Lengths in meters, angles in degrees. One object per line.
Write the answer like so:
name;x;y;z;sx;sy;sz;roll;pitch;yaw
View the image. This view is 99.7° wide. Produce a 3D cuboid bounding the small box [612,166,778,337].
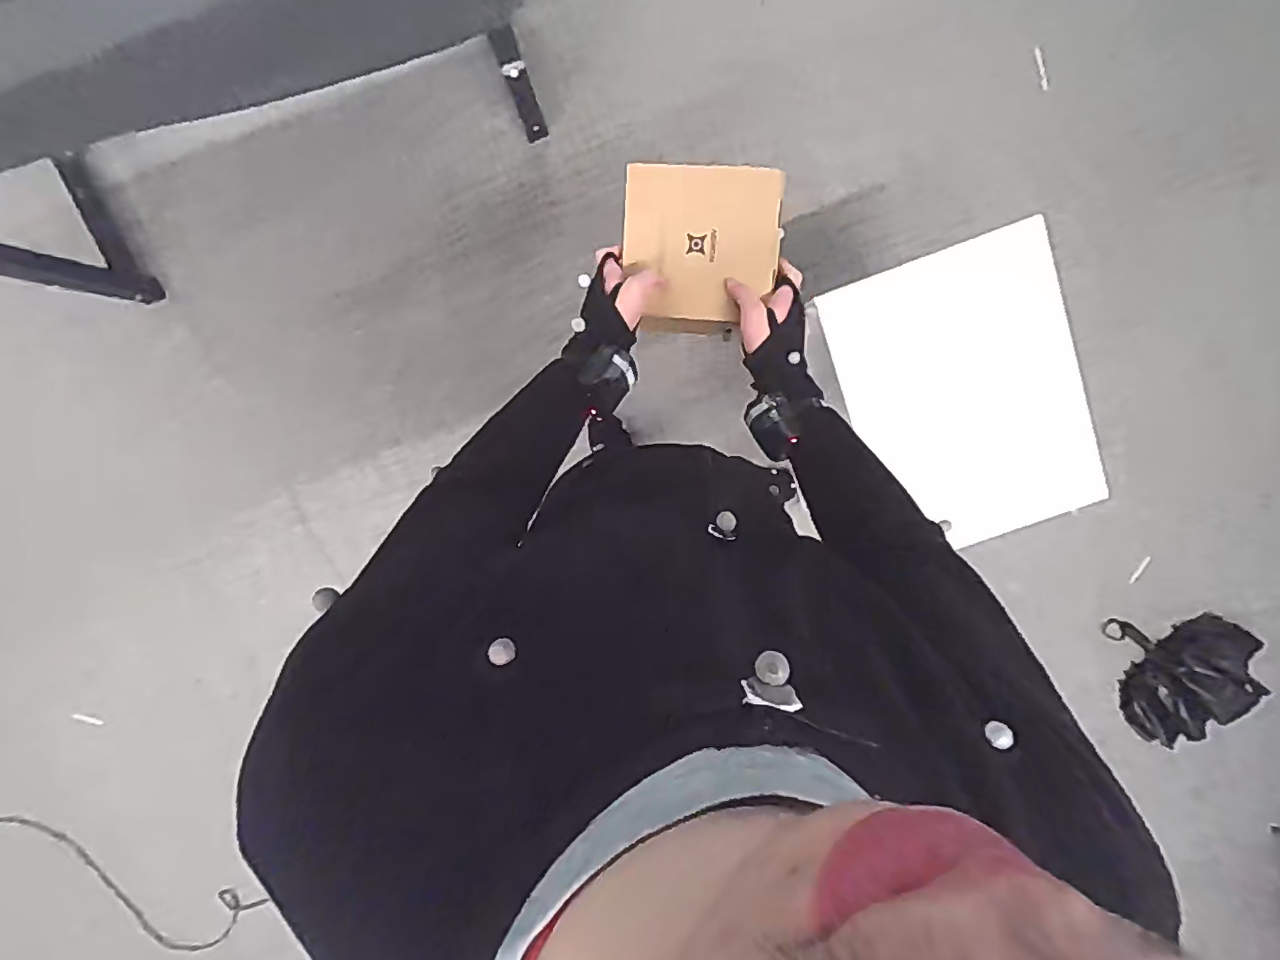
small box;0.067;-0.273;0.678;0.179;0.176;0.168;4;100;7
